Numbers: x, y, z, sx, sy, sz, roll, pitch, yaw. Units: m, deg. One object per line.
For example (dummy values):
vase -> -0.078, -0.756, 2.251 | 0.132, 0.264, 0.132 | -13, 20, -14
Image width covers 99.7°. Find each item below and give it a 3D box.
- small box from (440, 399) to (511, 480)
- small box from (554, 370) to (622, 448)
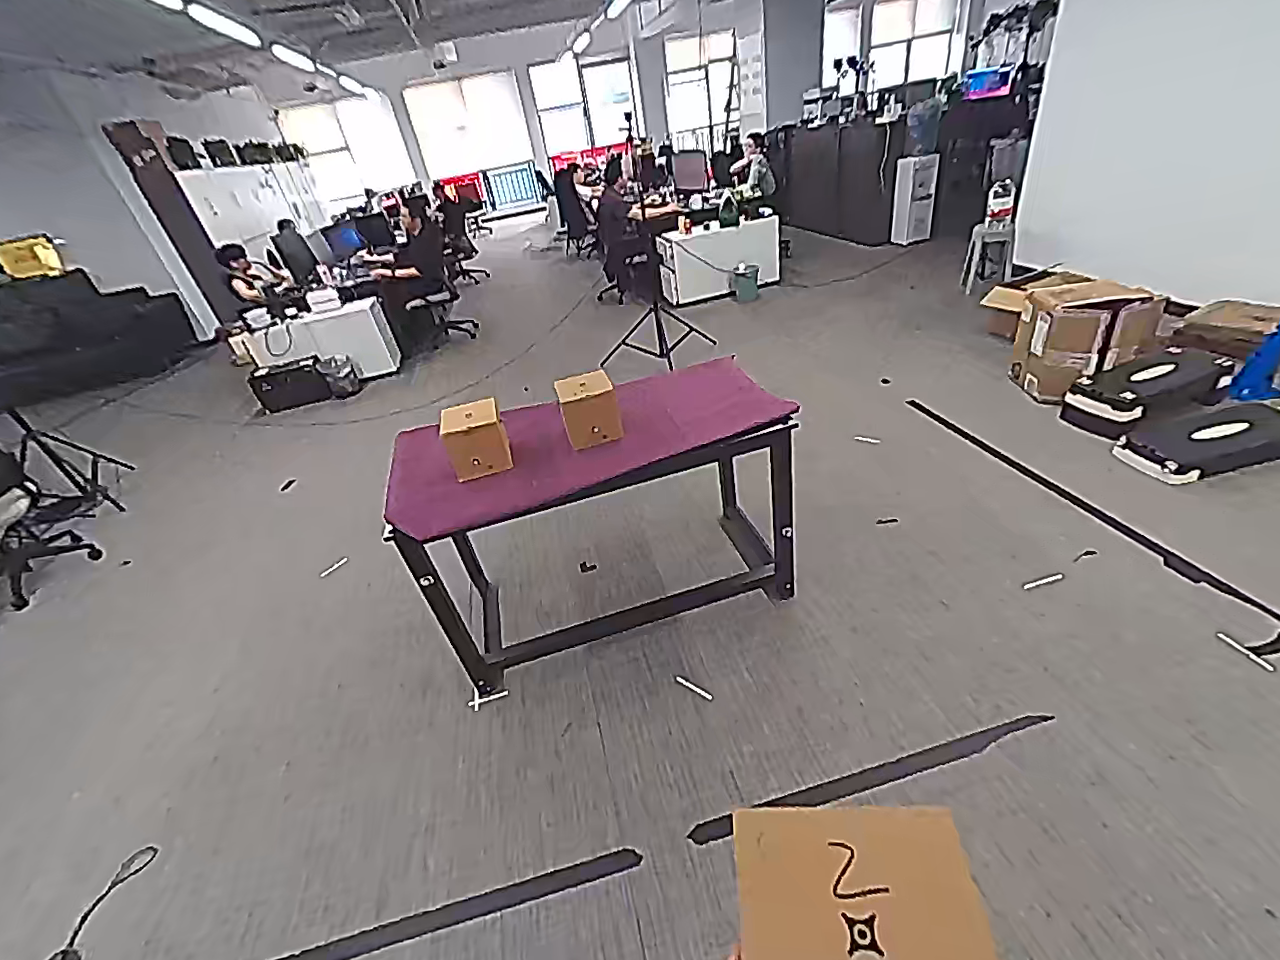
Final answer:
small box -> -0.500, -0.124, 1.653 | 0.168, 0.176, 0.179 | -16, 35, -9
small box -> -0.163, -0.222, 1.700 | 0.168, 0.176, 0.179 | -16, 34, -7
